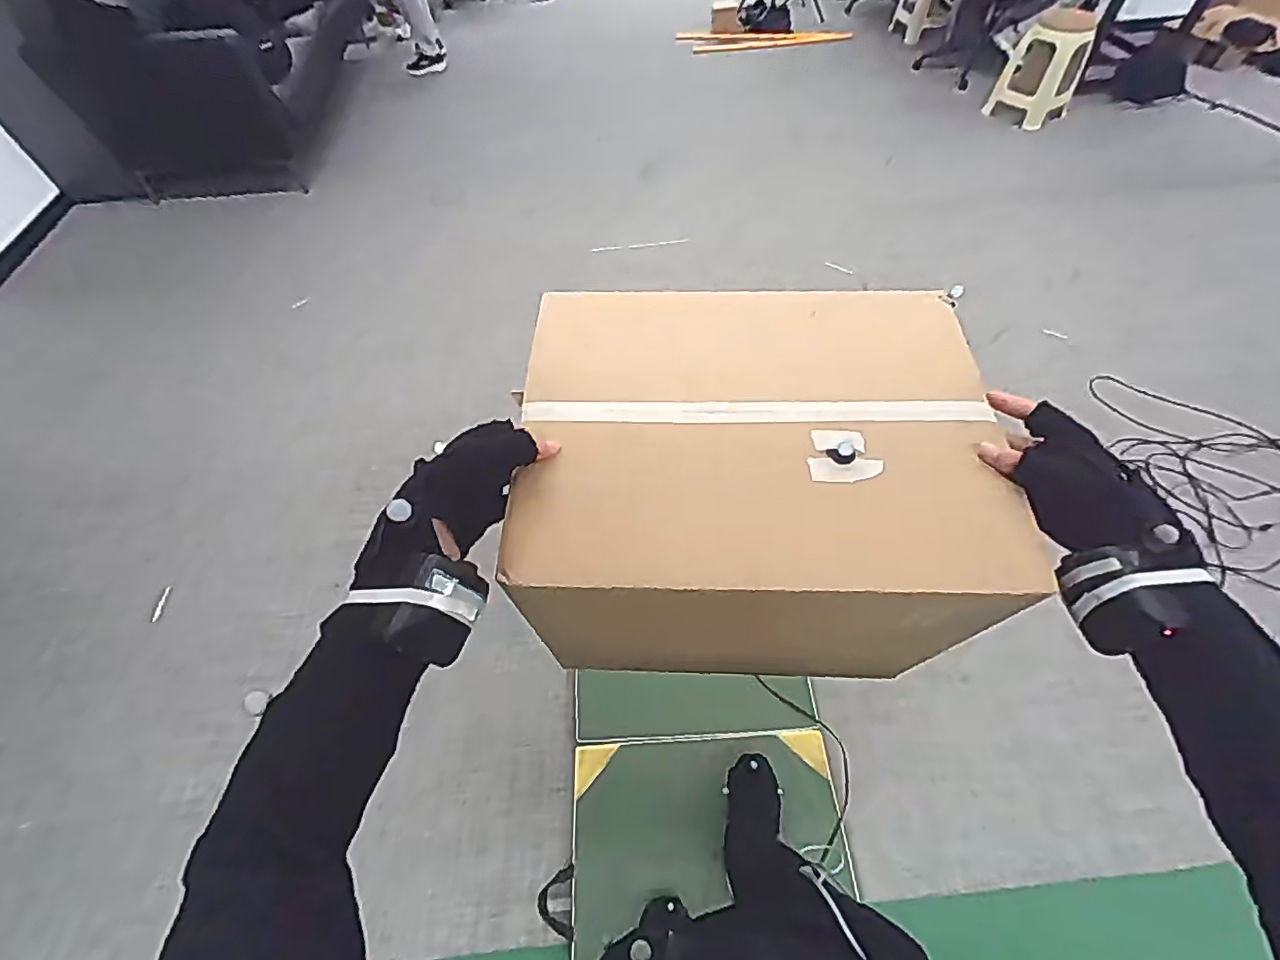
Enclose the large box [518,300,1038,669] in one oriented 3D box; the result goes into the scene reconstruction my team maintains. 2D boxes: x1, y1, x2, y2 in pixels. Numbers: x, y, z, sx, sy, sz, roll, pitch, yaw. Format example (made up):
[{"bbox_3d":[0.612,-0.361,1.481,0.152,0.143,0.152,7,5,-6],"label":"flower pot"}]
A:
[{"bbox_3d":[0.105,0.022,0.610,0.408,0.320,0.320,1,60,1],"label":"large box"}]
